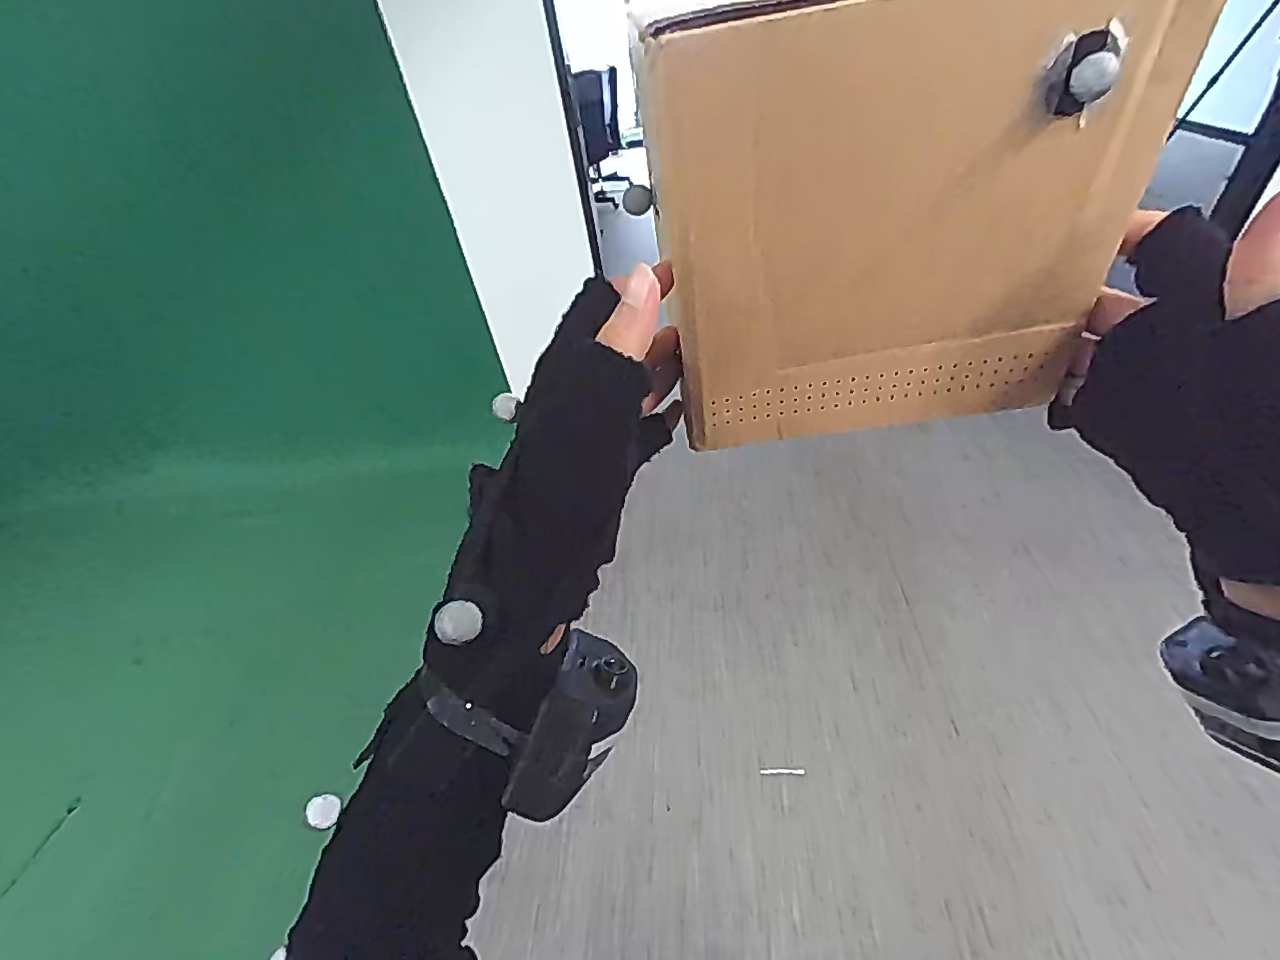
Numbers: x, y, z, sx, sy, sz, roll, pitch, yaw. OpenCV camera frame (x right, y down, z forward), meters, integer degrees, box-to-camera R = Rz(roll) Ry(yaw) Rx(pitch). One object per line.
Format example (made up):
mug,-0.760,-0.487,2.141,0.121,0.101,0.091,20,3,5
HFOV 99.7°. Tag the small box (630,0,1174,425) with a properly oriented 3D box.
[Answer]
small box,0.095,-0.143,0.275,0.179,0.176,0.168,-8,42,4
